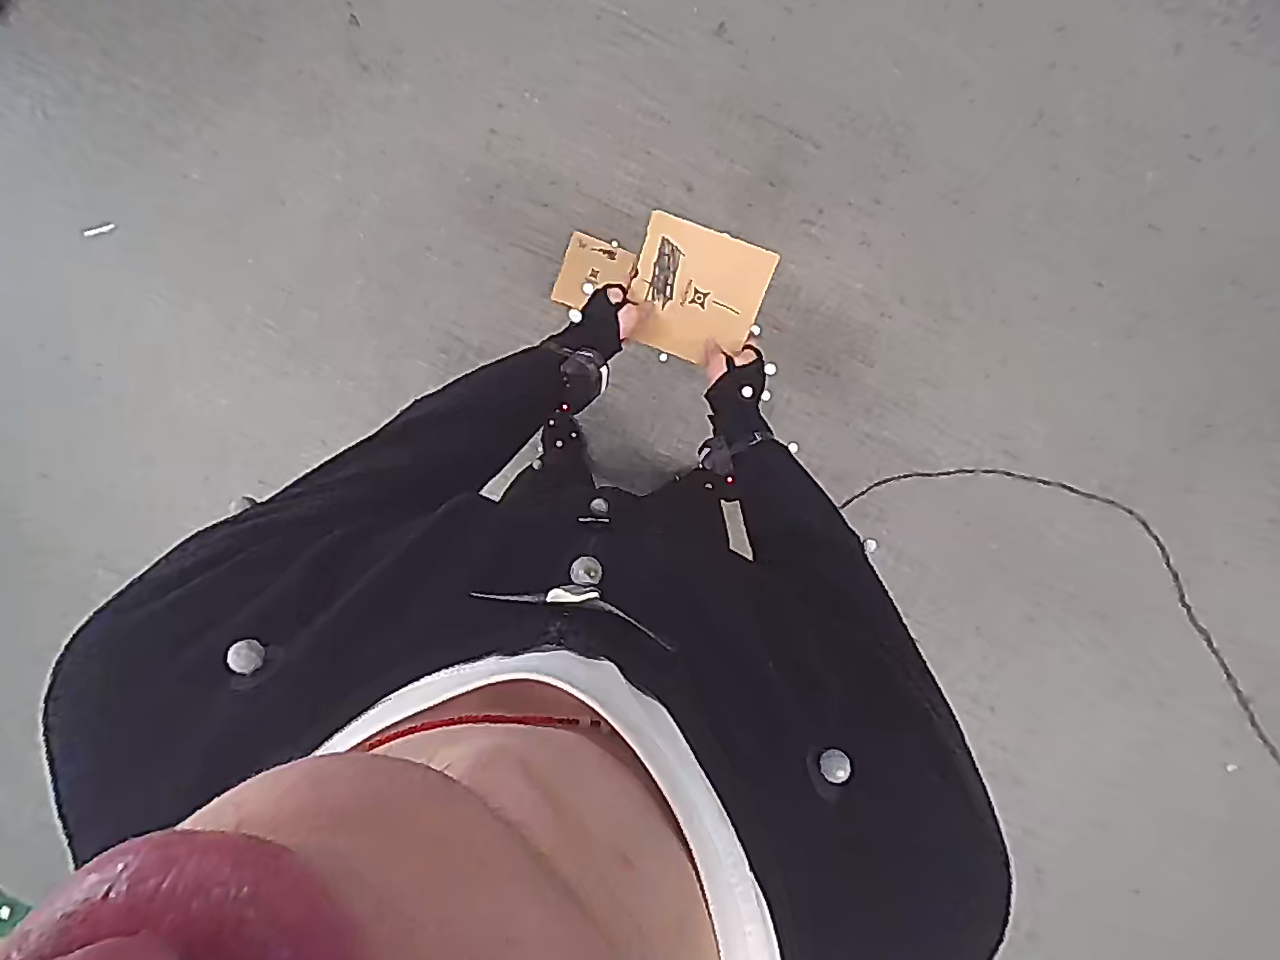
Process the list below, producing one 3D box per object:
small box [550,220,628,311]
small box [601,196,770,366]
[{"bbox_3d":[-0.116,-0.543,1.393,0.179,0.176,0.168,-6,96,7],"label":"small box"},{"bbox_3d":[0.069,-0.276,0.789,0.179,0.176,0.168,26,106,2],"label":"small box"}]
